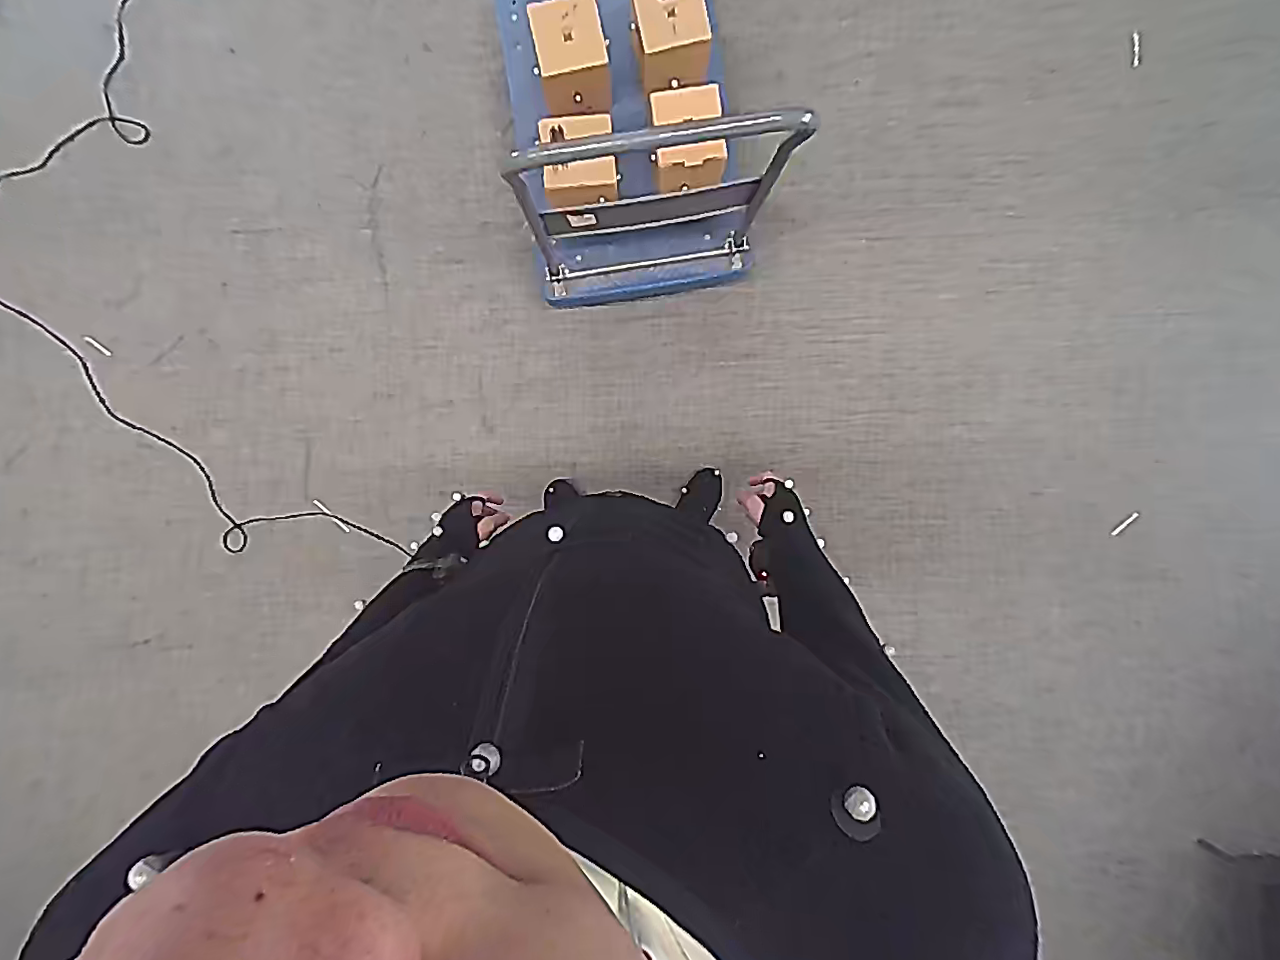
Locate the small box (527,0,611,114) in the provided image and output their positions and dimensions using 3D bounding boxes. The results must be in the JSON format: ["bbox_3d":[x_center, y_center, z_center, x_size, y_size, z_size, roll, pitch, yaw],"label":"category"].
[{"bbox_3d":[-0.173,-1.068,1.371,0.168,0.176,0.179,-13,92,0],"label":"small box"}]

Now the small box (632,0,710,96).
[{"bbox_3d":[0.073,-1.125,1.366,0.168,0.176,0.179,-12,93,2],"label":"small box"}]

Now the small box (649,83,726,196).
[{"bbox_3d":[0.116,-0.858,1.376,0.168,0.176,0.179,-8,92,1],"label":"small box"}]
